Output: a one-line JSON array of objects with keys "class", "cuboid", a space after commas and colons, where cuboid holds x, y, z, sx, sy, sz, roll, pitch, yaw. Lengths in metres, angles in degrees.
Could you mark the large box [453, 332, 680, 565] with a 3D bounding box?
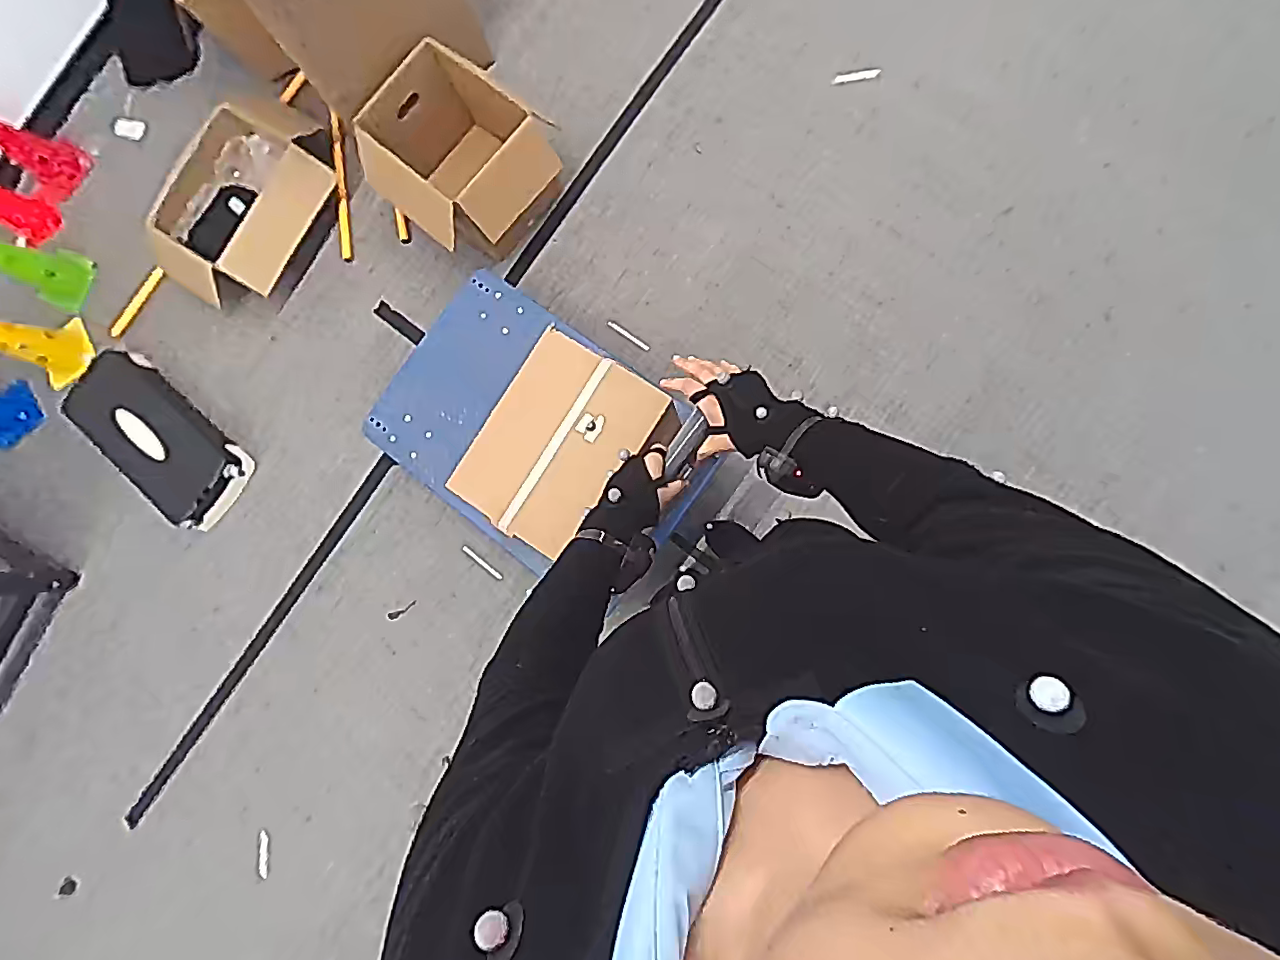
[{"class": "large box", "cuboid": [-0.144, -0.050, 1.254, 0.320, 0.320, 0.408, 32, 87, 10]}]
